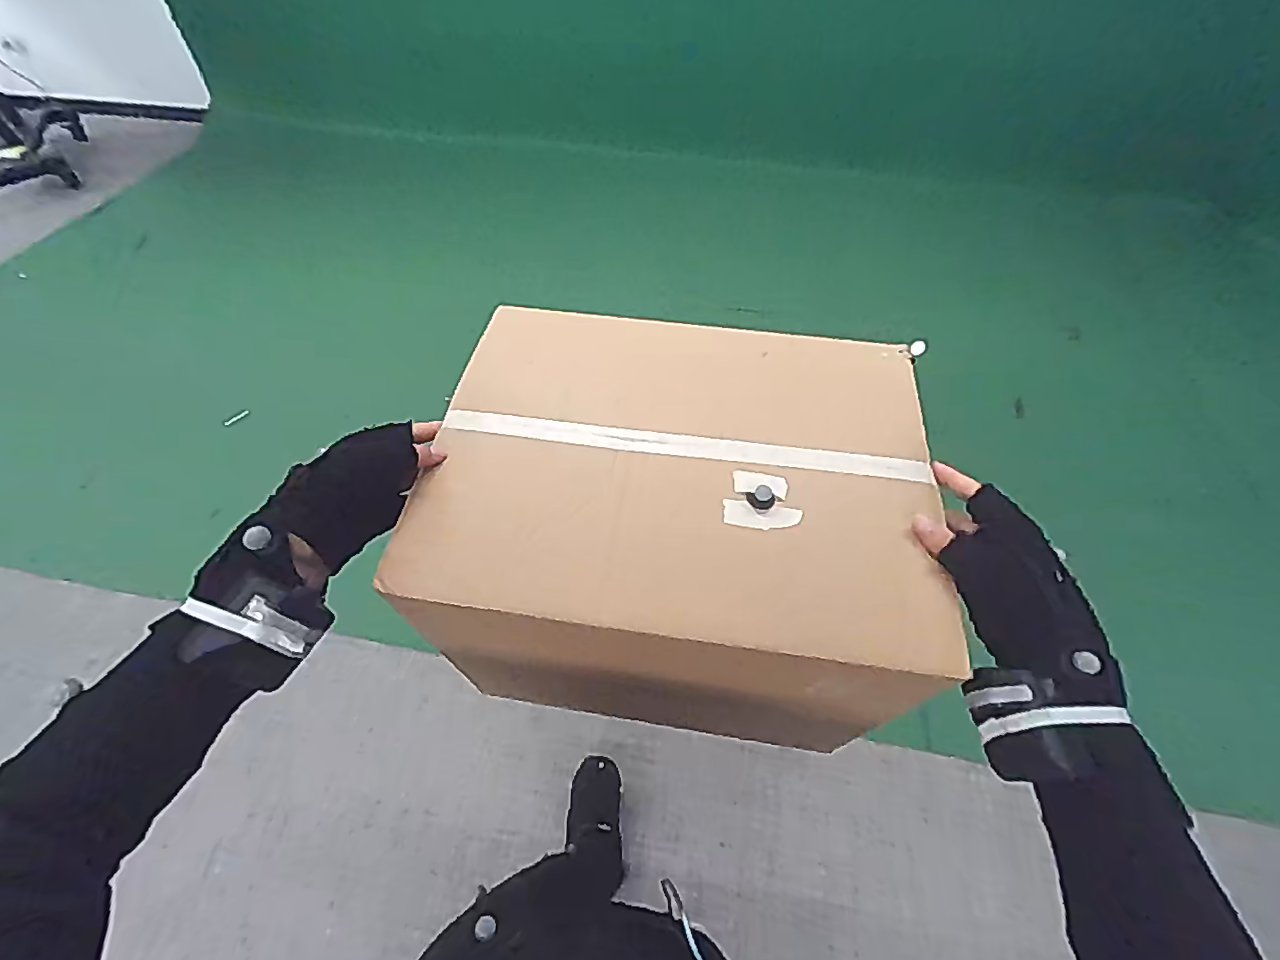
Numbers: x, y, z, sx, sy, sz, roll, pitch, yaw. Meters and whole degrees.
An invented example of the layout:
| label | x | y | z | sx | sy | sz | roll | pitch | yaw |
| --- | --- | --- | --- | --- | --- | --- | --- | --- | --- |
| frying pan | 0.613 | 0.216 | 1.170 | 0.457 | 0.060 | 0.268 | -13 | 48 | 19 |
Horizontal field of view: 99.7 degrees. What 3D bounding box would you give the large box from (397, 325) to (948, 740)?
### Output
| label | x | y | z | sx | sy | sz | roll | pitch | yaw |
| --- | --- | --- | --- | --- | --- | --- | --- | --- | --- |
| large box | 0.034 | 0.065 | 0.587 | 0.408 | 0.320 | 0.320 | 7 | 56 | 5 |
